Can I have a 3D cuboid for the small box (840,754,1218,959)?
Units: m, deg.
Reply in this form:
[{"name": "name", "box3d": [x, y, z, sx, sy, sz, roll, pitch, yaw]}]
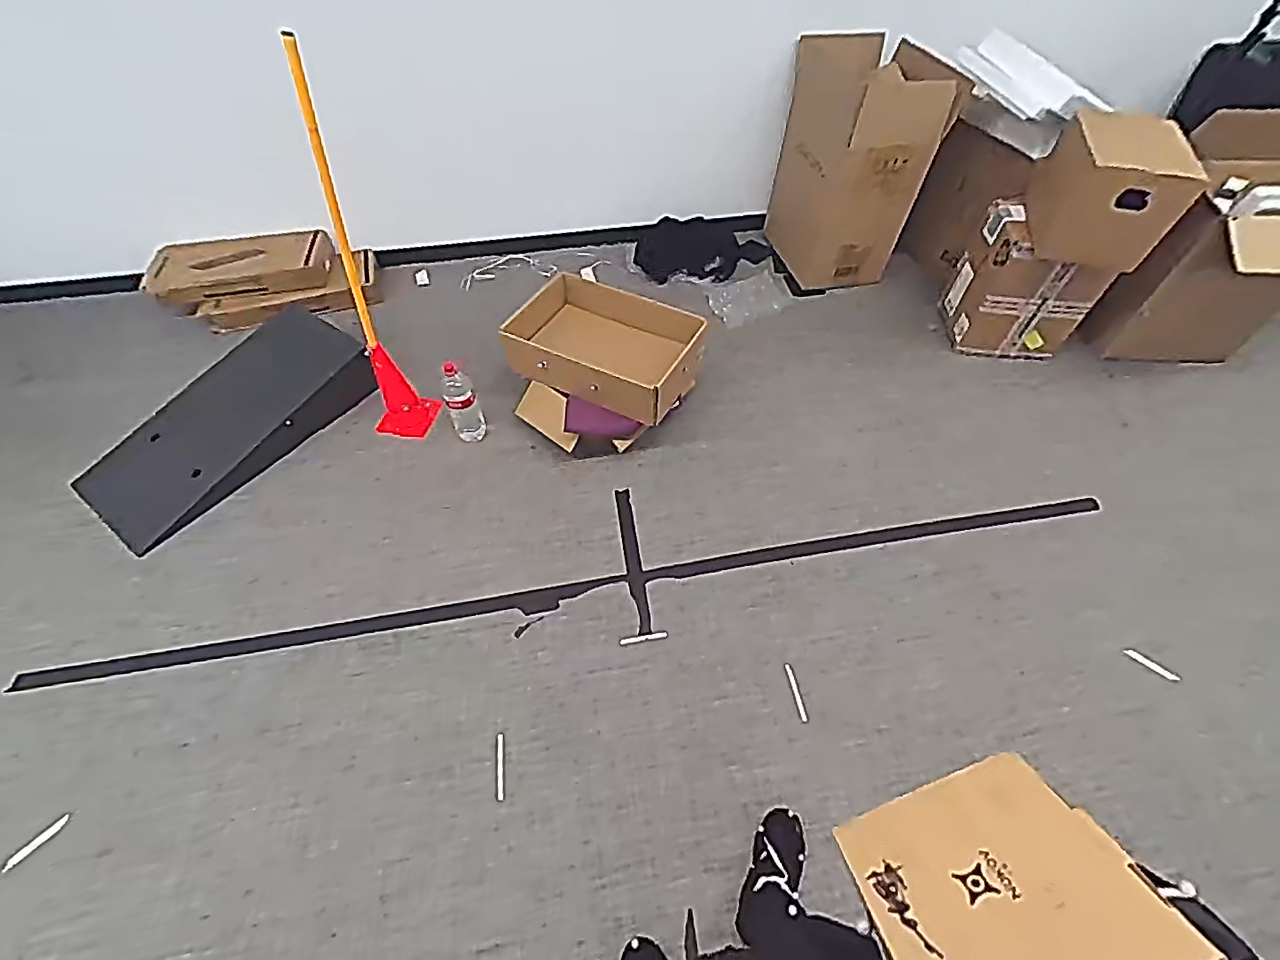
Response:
[{"name": "small box", "box3d": [0.292, 0.366, 0.424, 0.179, 0.176, 0.168, -24, 15, 2]}]
